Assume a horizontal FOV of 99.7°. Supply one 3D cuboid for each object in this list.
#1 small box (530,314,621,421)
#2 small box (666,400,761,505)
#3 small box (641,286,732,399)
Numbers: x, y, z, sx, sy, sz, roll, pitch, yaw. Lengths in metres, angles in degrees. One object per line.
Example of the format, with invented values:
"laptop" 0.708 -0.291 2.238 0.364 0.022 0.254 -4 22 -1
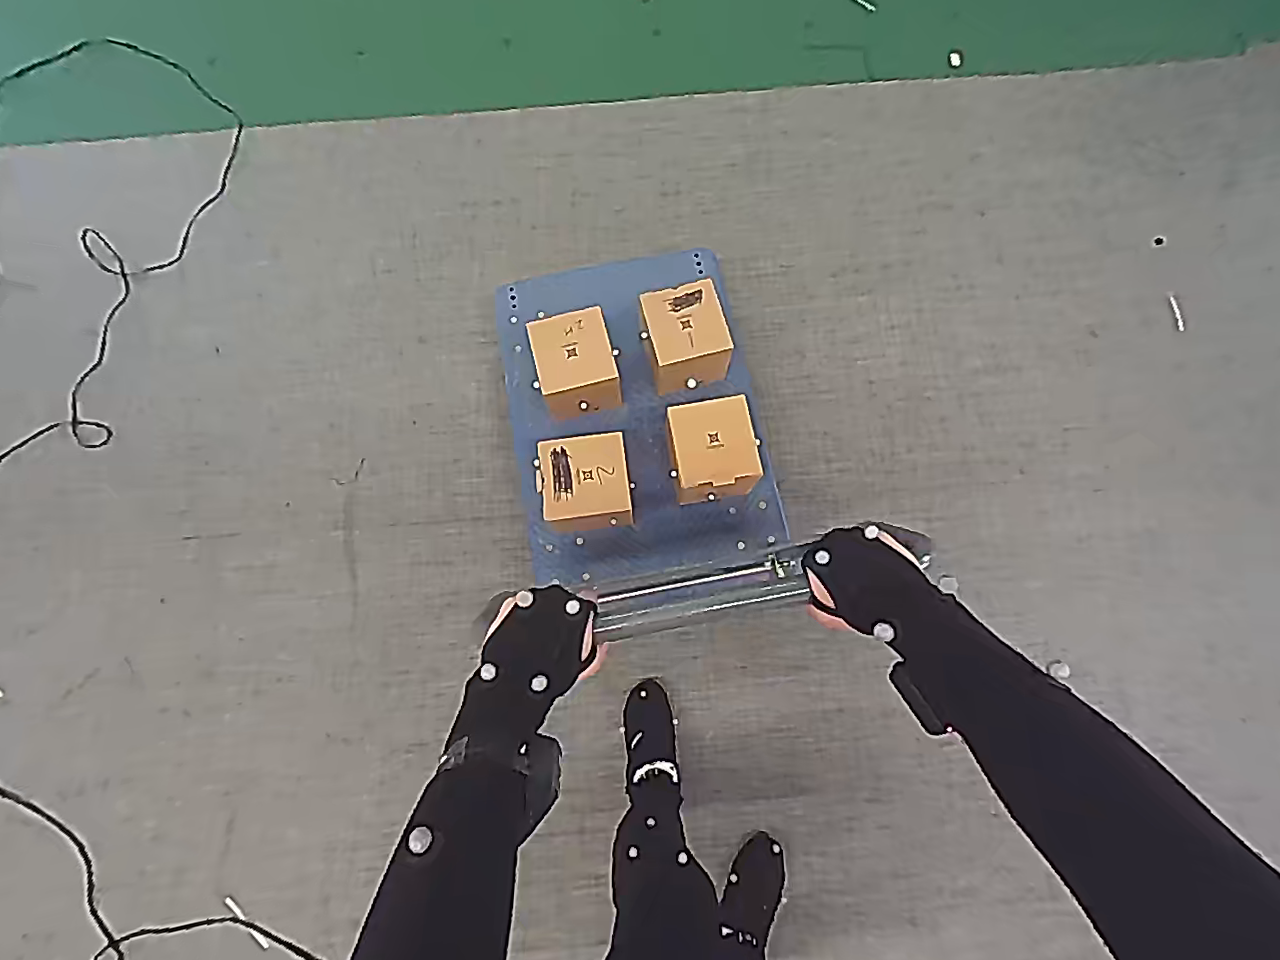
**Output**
"small box" -0.143 -0.249 1.243 0.168 0.176 0.179 -14 76 -3
"small box" 0.153 -0.055 1.191 0.168 0.176 0.179 -10 77 -2
"small box" 0.101 -0.313 1.254 0.168 0.176 0.179 -14 77 -2
